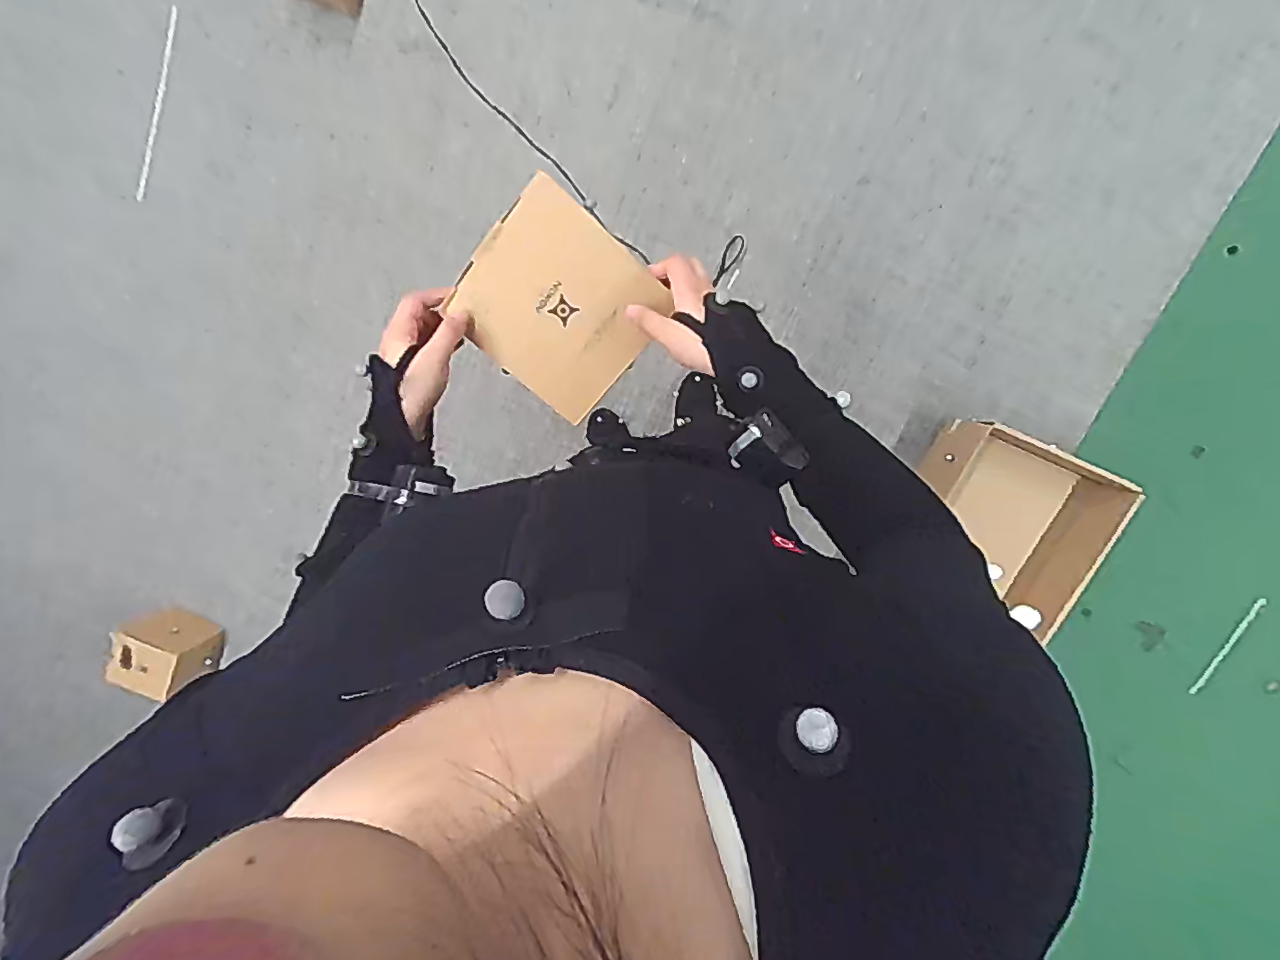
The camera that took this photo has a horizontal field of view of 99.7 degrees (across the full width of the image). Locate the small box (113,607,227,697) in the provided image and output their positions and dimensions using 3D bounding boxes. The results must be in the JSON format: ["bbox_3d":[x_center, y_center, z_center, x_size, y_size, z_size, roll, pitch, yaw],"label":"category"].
[{"bbox_3d":[-1.391,0.503,1.608,0.179,0.176,0.168,24,102,-2],"label":"small box"}]

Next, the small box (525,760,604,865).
[{"bbox_3d":[-0.221,0.996,1.633,0.168,0.176,0.179,29,102,-3],"label":"small box"}]

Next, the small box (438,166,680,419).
[{"bbox_3d":[-0.081,-0.199,0.591,0.179,0.176,0.168,37,107,-17],"label":"small box"}]

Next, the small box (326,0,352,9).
[{"bbox_3d":[-0.744,-1.210,1.199,0.168,0.176,0.179,21,103,-1],"label":"small box"}]
